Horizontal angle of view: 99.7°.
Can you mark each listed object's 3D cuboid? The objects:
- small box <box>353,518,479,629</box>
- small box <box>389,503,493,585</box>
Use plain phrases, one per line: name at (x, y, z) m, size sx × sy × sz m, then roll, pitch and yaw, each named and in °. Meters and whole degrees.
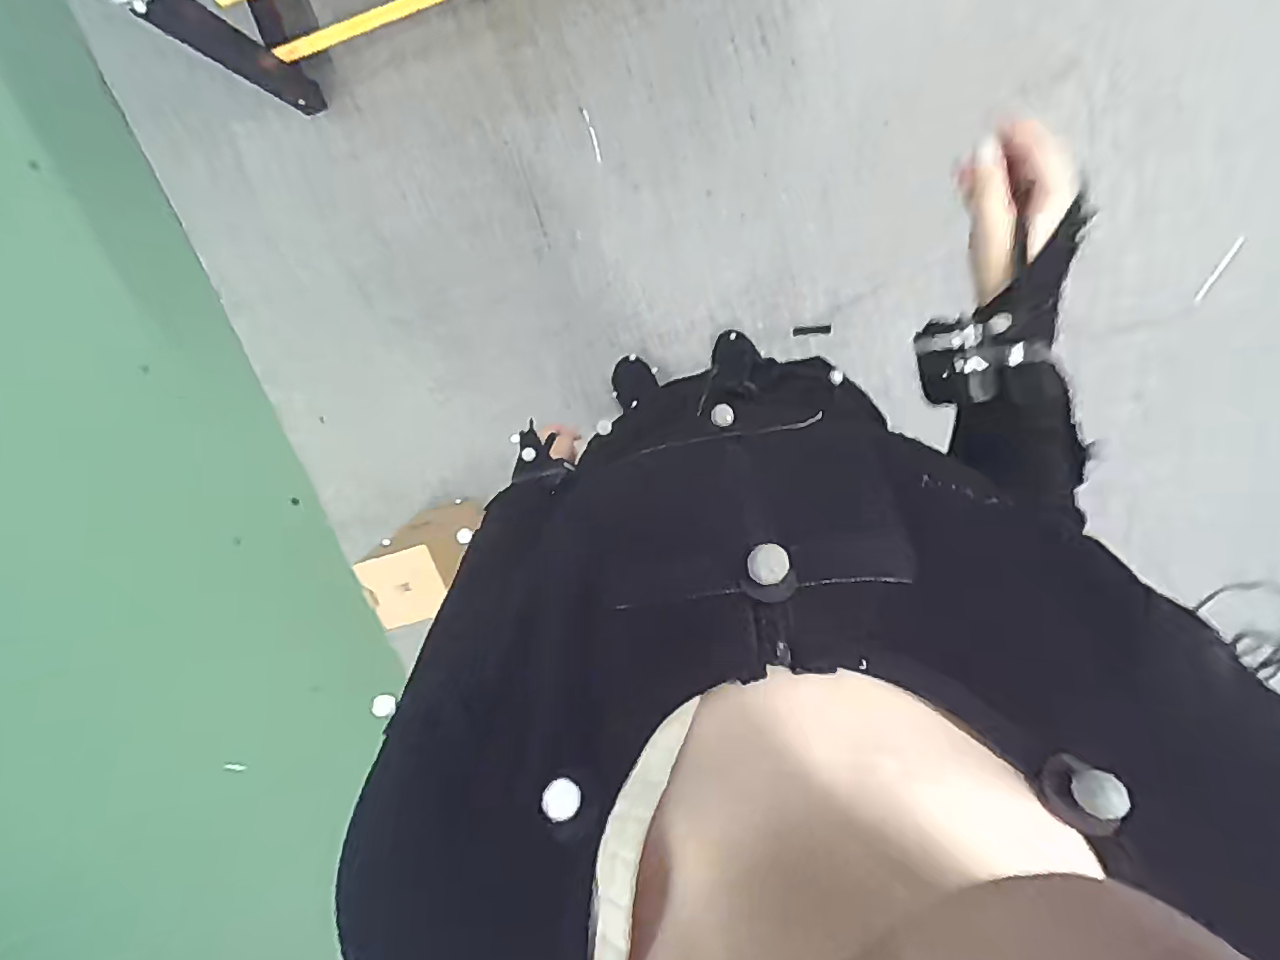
small box at (-0.494, 0.205, 1.219) m, size 0.179 × 0.176 × 0.168 m, roll -17°, pitch 105°, yaw 7°
small box at (-0.497, 0.170, 1.378) m, size 0.168 × 0.176 × 0.179 m, roll -14°, pitch 105°, yaw 8°
